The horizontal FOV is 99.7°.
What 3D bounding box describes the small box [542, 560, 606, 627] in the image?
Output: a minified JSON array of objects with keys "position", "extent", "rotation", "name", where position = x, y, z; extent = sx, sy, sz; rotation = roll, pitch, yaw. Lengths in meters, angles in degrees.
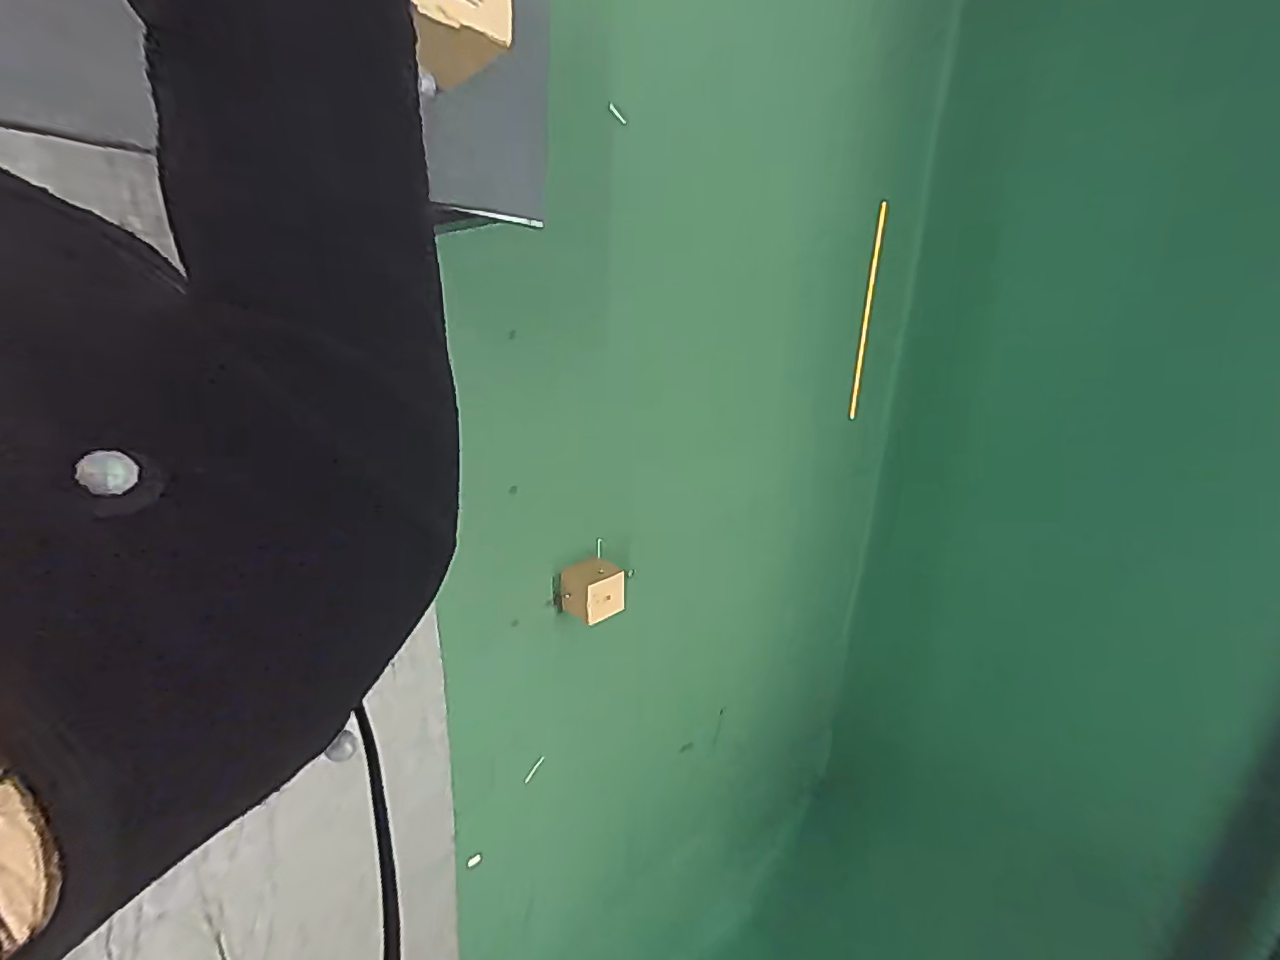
[{"position":[-0.248,0.418,2.033],"extent":[0.179,0.176,0.168],"rotation":[-16,114,-43],"name":"small box"}]
